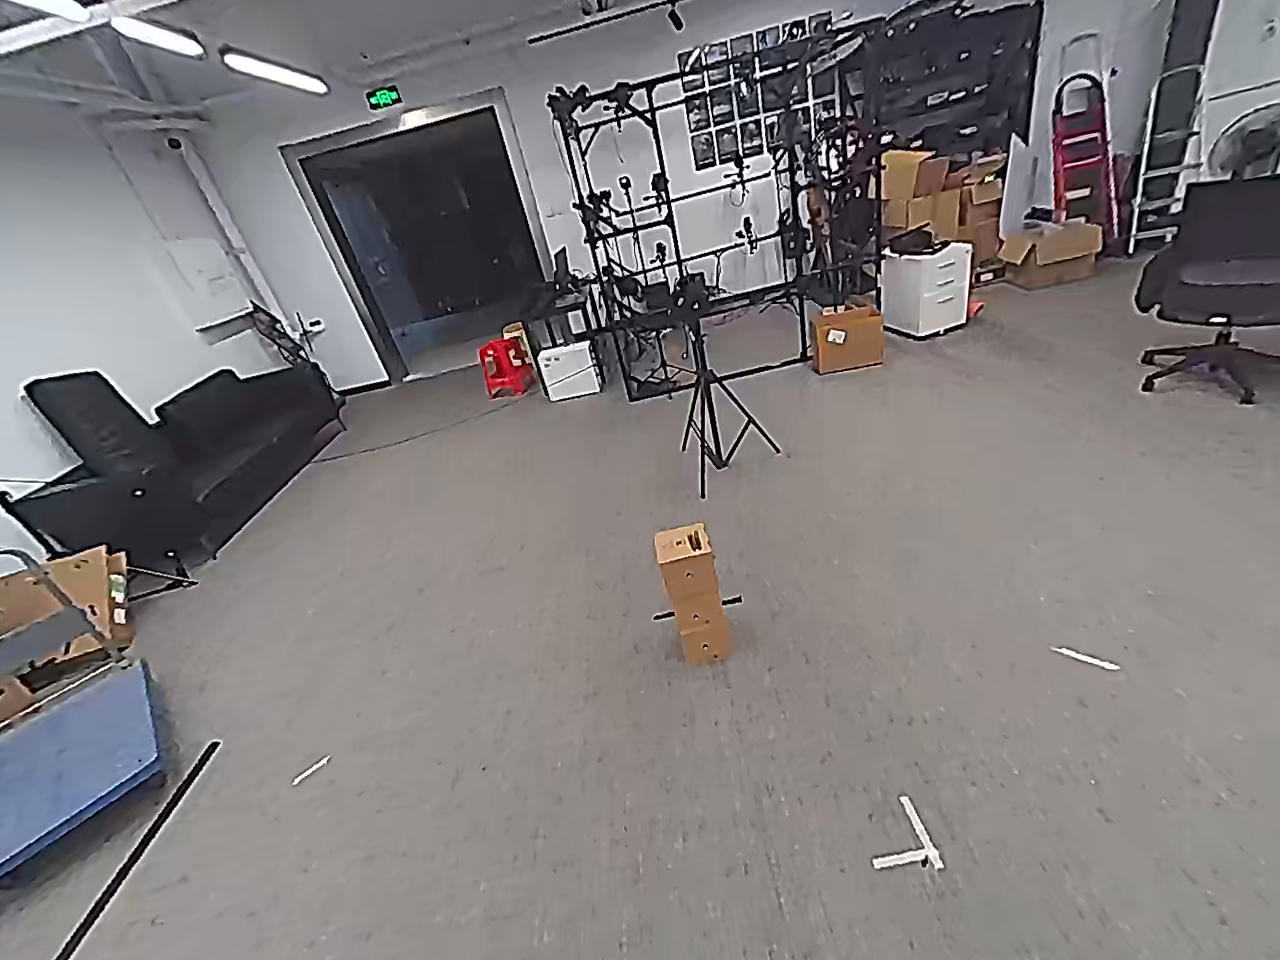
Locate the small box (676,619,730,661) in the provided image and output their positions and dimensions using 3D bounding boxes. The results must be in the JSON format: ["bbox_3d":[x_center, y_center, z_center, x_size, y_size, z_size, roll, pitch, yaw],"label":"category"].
[{"bbox_3d":[0.228,0.544,1.989,0.168,0.176,0.179,-13,29,2],"label":"small box"}]

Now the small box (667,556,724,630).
[{"bbox_3d":[0.195,0.401,1.918,0.168,0.176,0.179,-13,30,4],"label":"small box"}]
